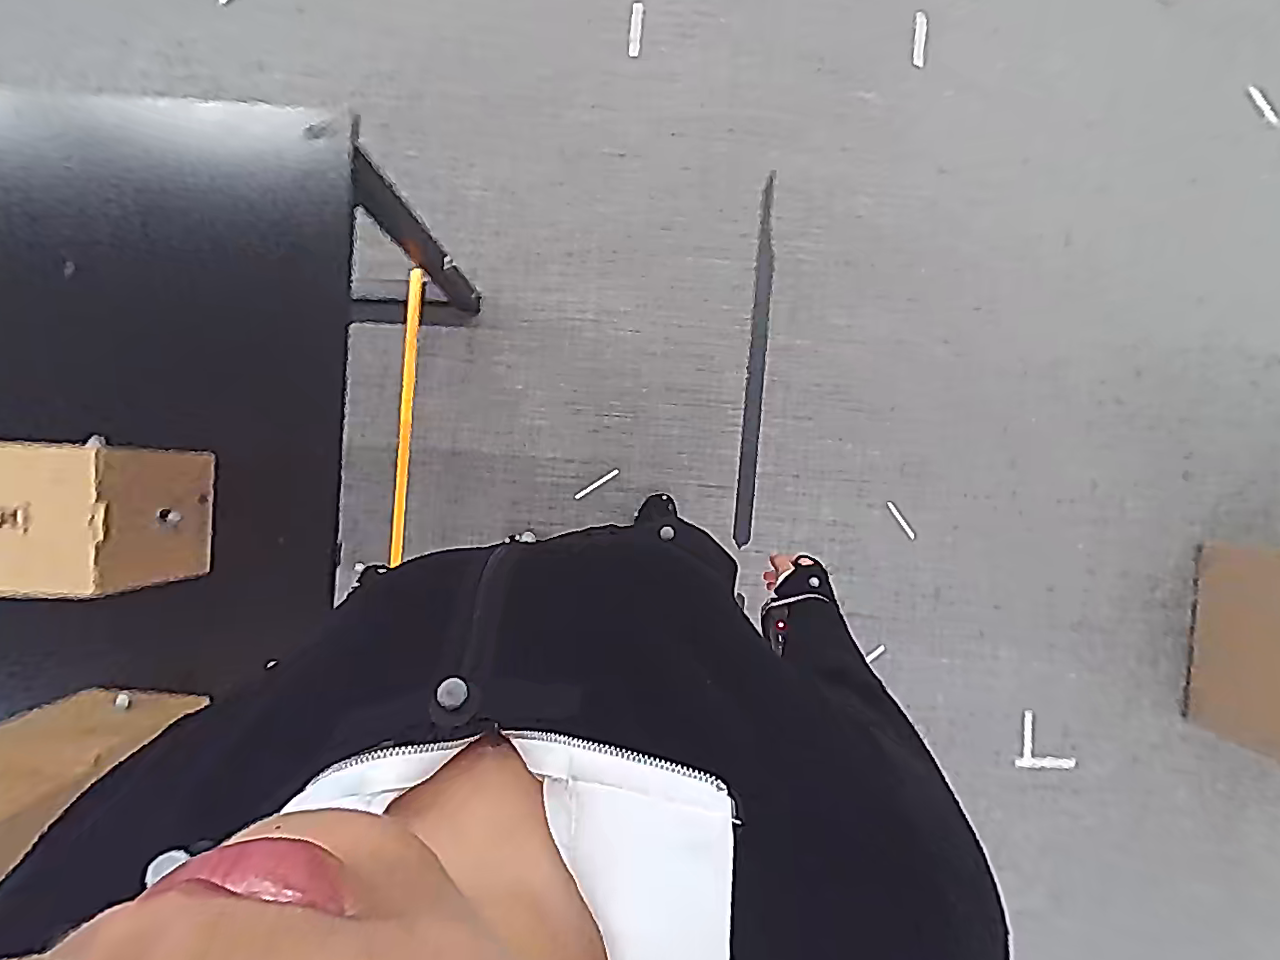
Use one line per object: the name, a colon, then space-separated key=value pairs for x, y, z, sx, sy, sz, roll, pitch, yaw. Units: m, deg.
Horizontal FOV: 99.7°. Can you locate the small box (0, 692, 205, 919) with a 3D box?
small box: x=-0.684 y=0.384 z=0.666 sx=0.168 sy=0.176 sz=0.179 roll=4 pitch=88 yaw=-2

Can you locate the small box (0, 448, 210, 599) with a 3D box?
small box: x=-0.682 y=0.047 z=0.672 sx=0.179 sy=0.176 sz=0.168 roll=2 pitch=90 yaw=-2

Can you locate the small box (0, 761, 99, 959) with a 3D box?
small box: x=-0.678 y=0.385 z=0.504 sx=0.179 sy=0.176 sz=0.168 roll=3 pitch=91 yaw=-3
